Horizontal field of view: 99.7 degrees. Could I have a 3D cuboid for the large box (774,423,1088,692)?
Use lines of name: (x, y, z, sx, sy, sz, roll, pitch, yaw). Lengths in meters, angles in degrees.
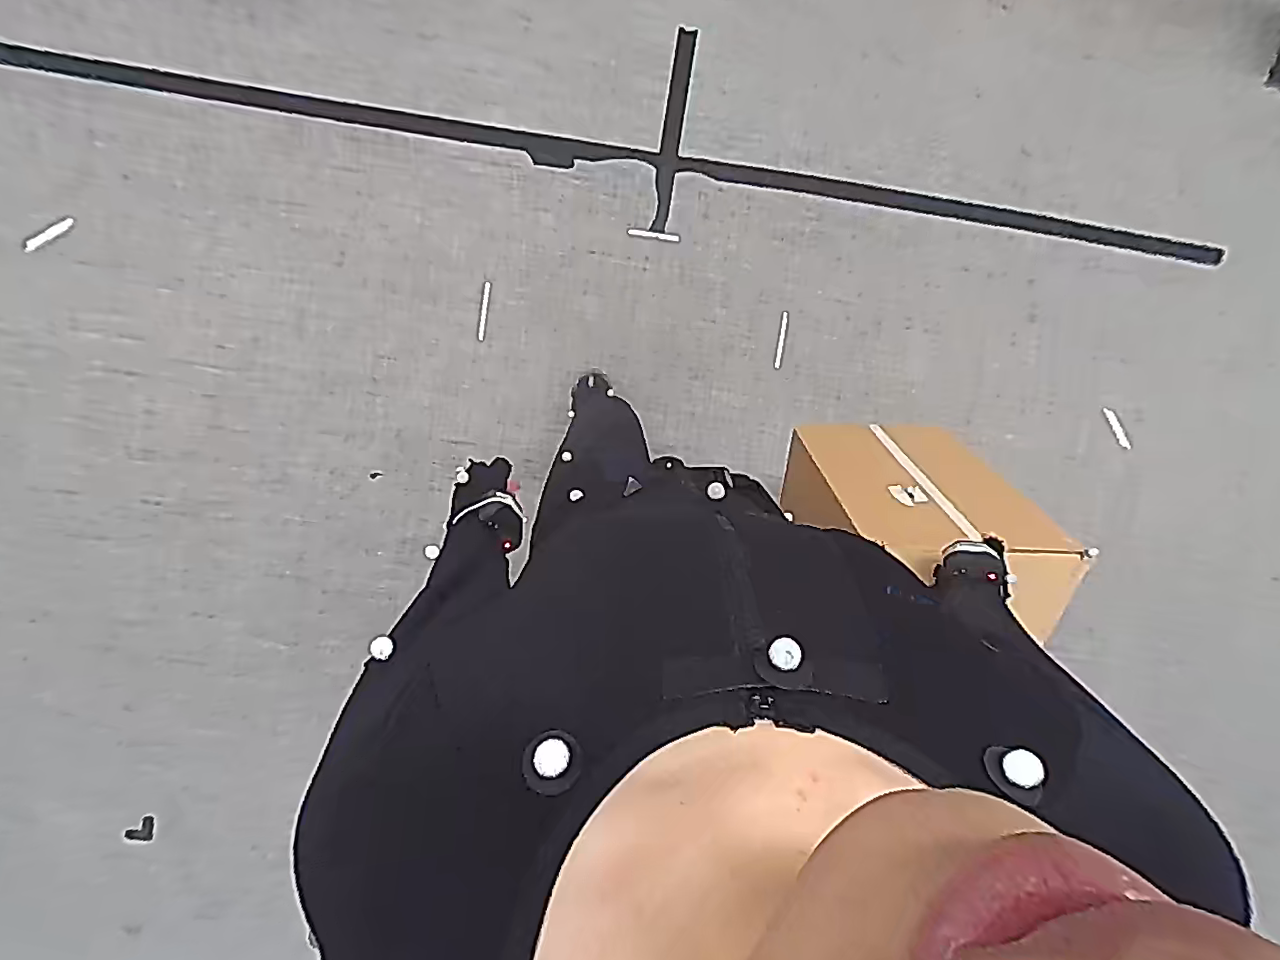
large box: (0.464, 0.123, 0.994, 0.320, 0.408, 0.320, 0, 123, -2)
